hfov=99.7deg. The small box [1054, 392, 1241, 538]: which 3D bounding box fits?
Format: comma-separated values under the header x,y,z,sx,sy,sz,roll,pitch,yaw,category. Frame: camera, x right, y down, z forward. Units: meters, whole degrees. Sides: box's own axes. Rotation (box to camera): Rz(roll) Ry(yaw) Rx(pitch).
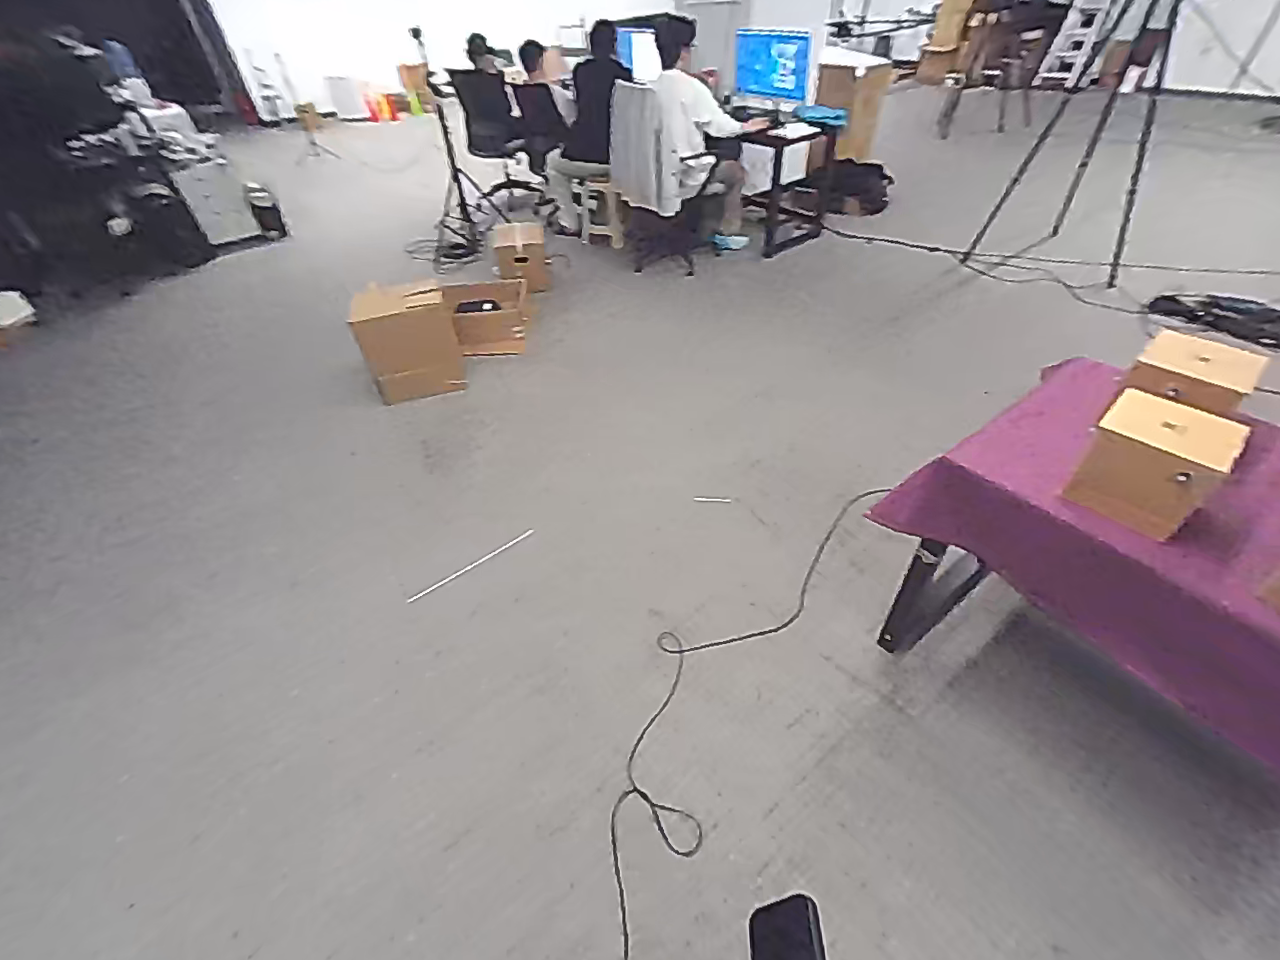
x,y,z,sx,sy,sz,roll,pitch,yaw,category
0.904,-0.027,0.979,0.168,0.176,0.179,-33,51,-28,small box
